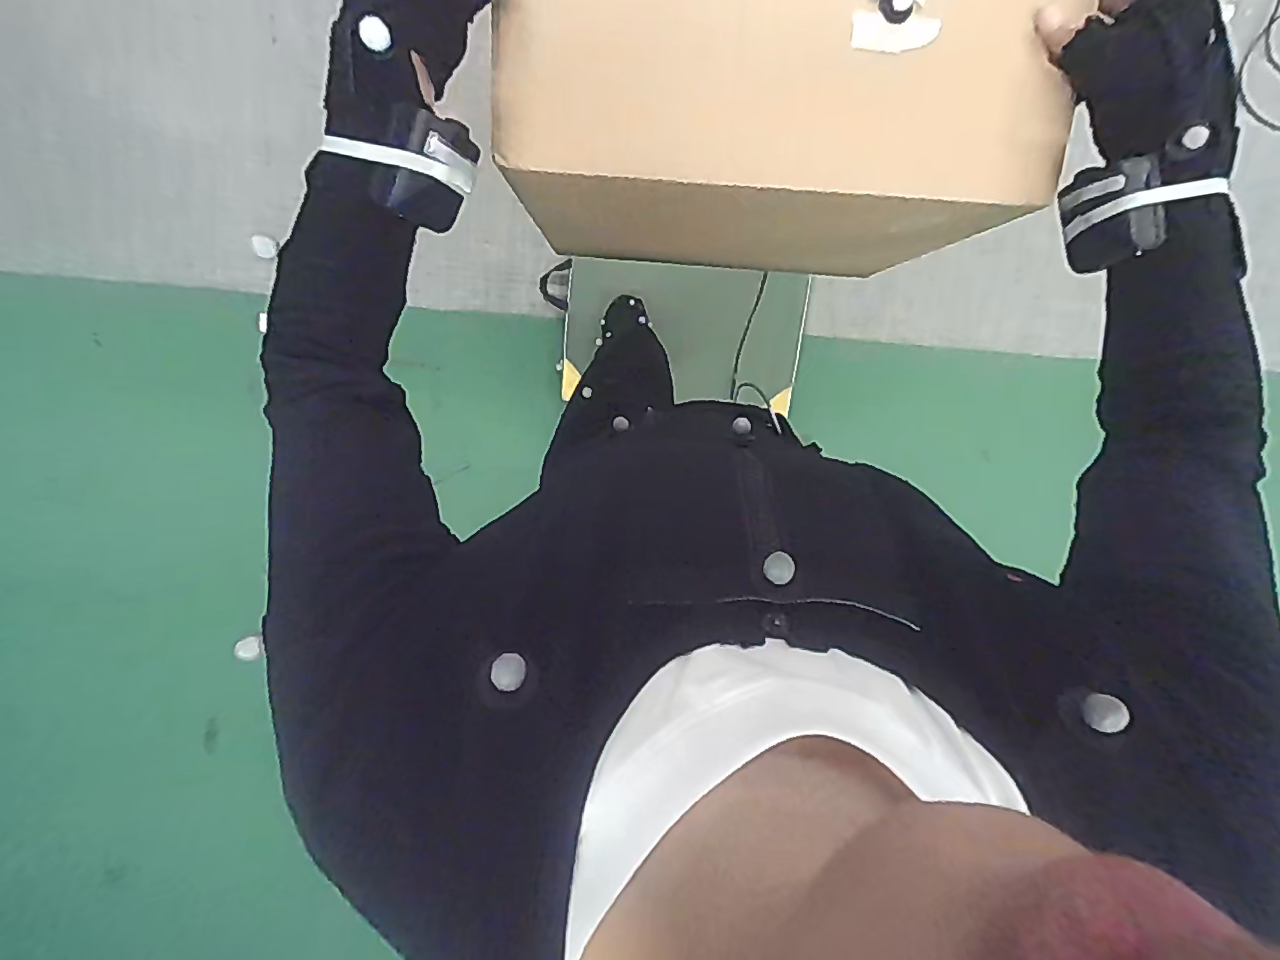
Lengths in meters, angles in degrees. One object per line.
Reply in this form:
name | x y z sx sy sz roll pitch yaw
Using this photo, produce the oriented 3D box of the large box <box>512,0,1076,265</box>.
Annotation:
large box | 0.105 -0.402 0.515 0.408 0.320 0.320 3 102 -2
